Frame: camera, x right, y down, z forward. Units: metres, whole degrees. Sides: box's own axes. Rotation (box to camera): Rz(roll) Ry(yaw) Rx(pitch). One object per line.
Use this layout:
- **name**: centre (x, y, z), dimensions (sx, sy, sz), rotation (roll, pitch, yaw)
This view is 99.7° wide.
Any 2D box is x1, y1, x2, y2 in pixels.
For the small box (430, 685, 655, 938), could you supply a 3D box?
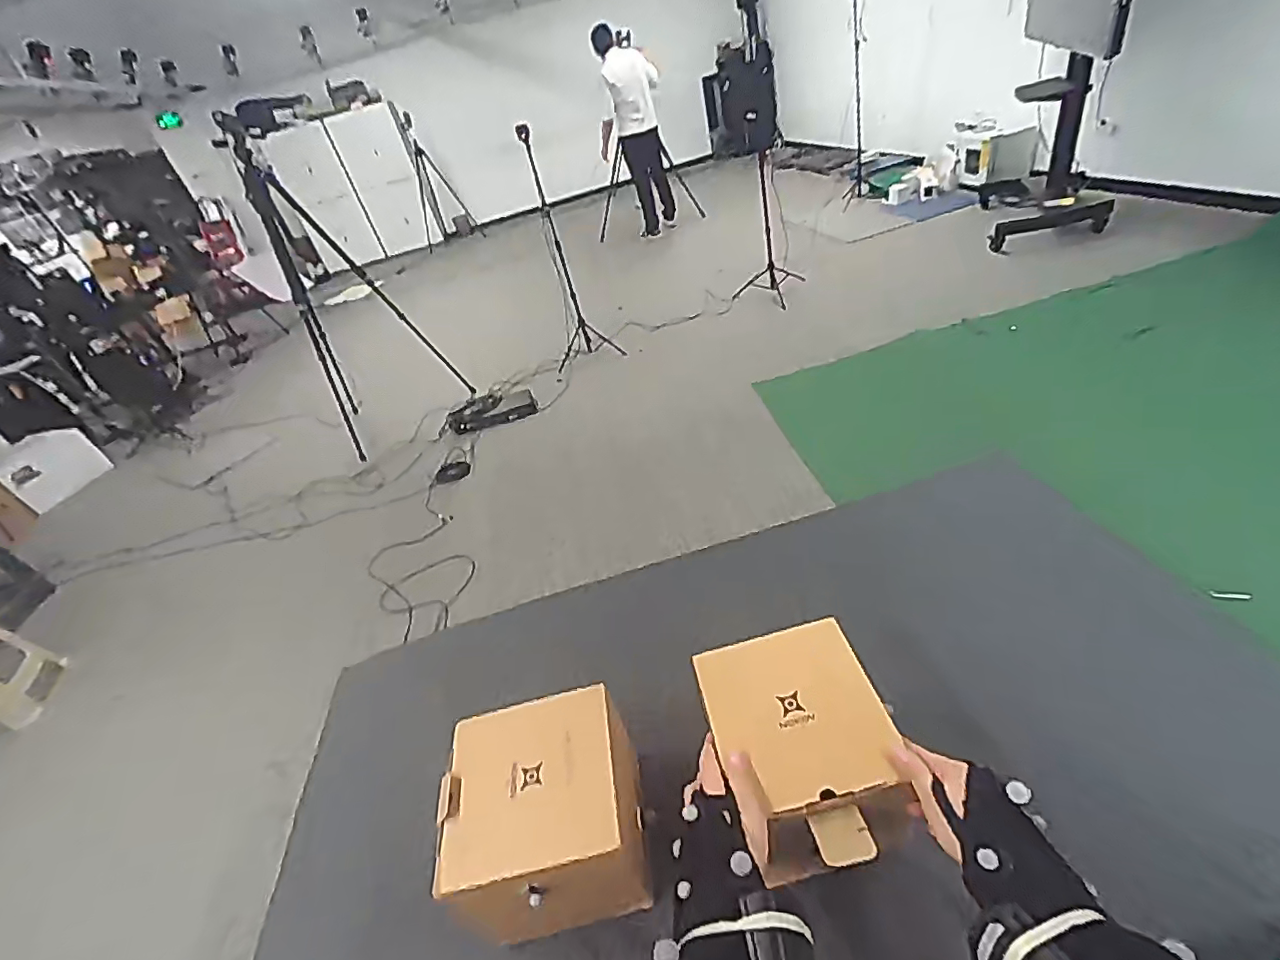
- **small box**: centre (-0.094, 0.357, 0.583), dimensions (0.179, 0.176, 0.168), rotation (-15, 37, 1)
